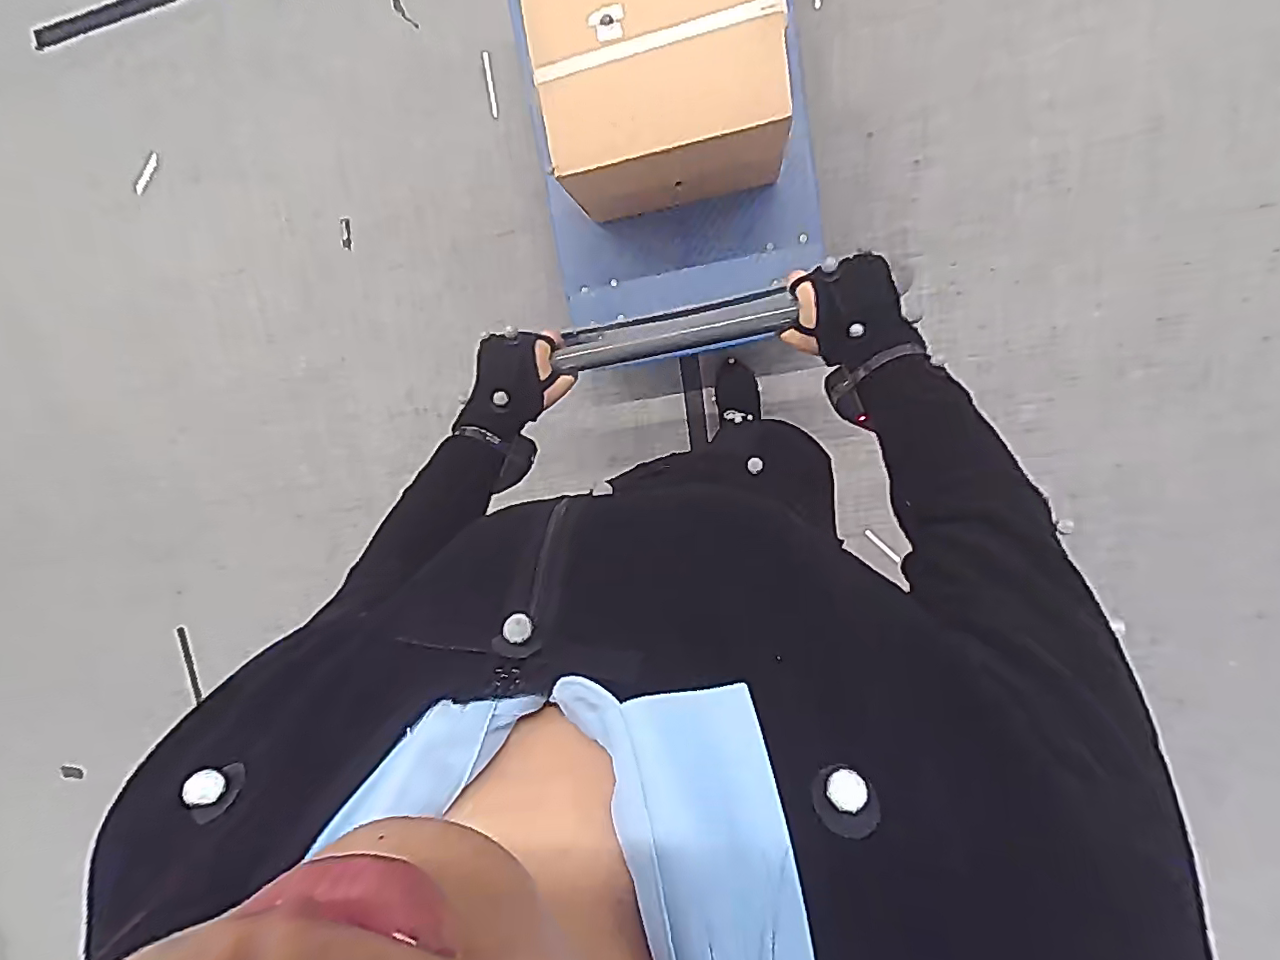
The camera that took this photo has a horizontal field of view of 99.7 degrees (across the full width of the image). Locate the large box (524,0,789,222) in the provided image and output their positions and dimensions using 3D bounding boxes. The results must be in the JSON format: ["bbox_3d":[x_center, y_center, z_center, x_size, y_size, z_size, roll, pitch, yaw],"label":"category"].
[{"bbox_3d":[0.049,-0.734,1.033,0.408,0.320,0.320,-9,99,12],"label":"large box"}]
